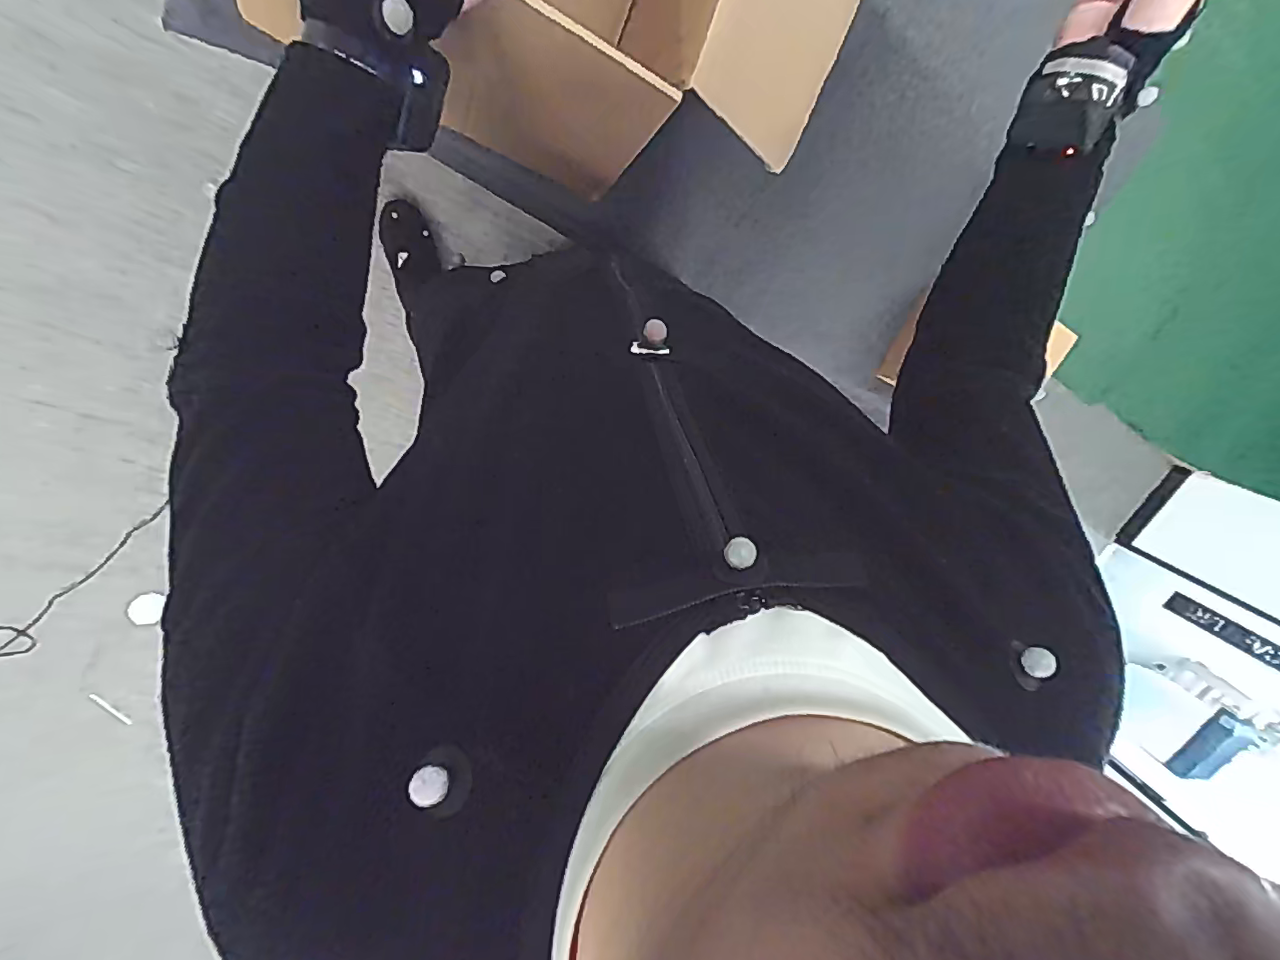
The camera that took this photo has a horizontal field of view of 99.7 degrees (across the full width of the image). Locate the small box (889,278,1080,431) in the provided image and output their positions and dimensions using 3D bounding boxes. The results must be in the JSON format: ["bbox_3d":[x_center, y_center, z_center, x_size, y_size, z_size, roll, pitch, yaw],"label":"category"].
[{"bbox_3d":[0.545,-0.209,0.884,0.168,0.176,0.179,17,108,-27],"label":"small box"}]
